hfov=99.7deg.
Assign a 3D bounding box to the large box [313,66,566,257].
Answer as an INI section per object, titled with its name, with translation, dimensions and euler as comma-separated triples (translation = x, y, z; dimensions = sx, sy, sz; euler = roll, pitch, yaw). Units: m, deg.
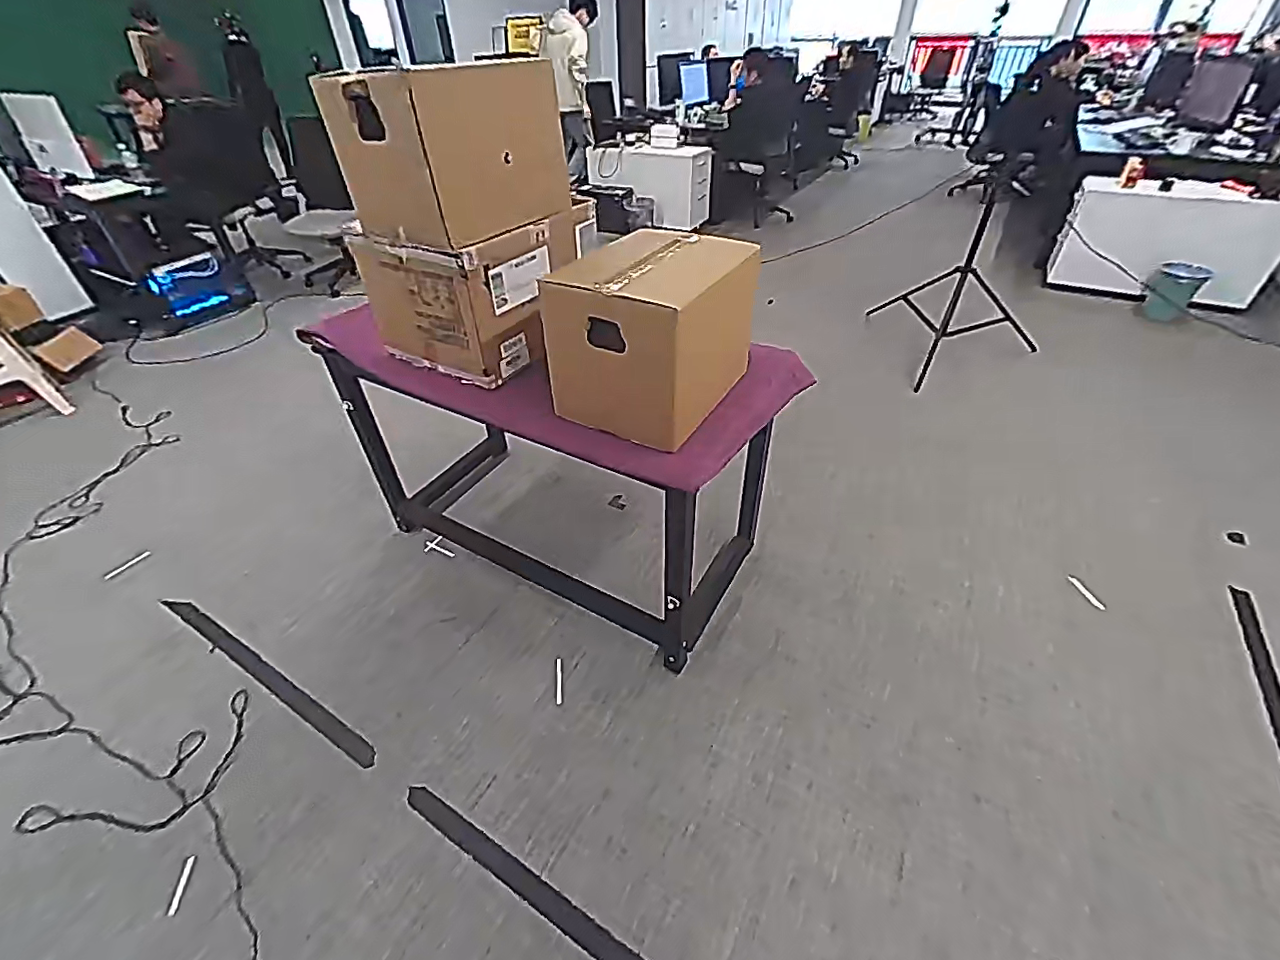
[large box]
translation = -0.425, -0.741, 1.247
dimensions = 0.320, 0.320, 0.408
euler = 17, 44, 28
